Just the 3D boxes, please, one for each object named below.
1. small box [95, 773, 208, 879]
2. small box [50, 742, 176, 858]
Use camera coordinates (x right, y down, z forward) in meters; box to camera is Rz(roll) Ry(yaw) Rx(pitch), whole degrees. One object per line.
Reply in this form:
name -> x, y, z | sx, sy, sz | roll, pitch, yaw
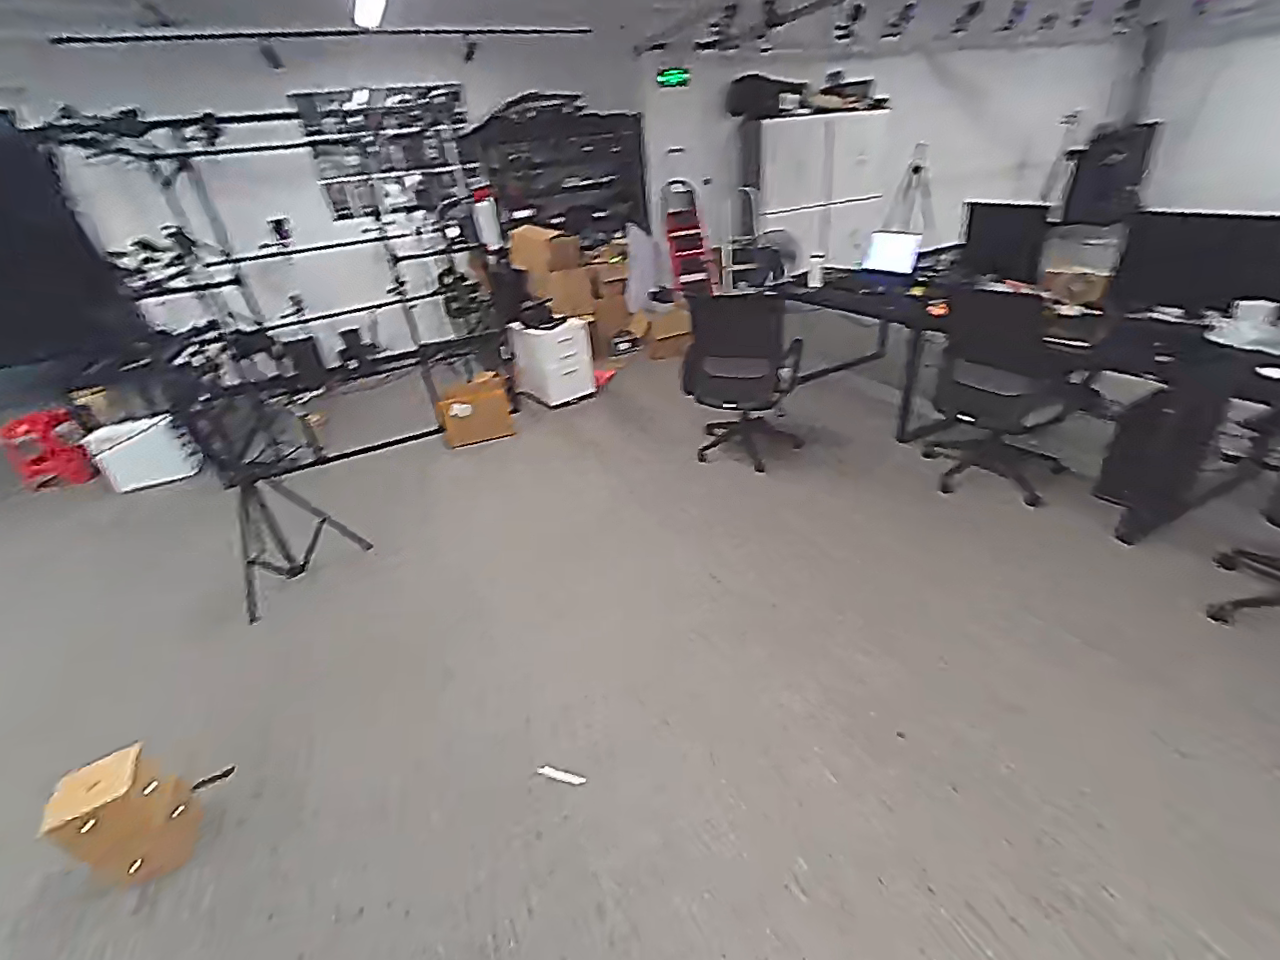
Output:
small box -> -1.377, 0.989, 1.539 | 0.168, 0.176, 0.179 | -16, 31, -17
small box -> -1.395, 0.855, 1.449 | 0.179, 0.176, 0.168 | -22, 33, -23
